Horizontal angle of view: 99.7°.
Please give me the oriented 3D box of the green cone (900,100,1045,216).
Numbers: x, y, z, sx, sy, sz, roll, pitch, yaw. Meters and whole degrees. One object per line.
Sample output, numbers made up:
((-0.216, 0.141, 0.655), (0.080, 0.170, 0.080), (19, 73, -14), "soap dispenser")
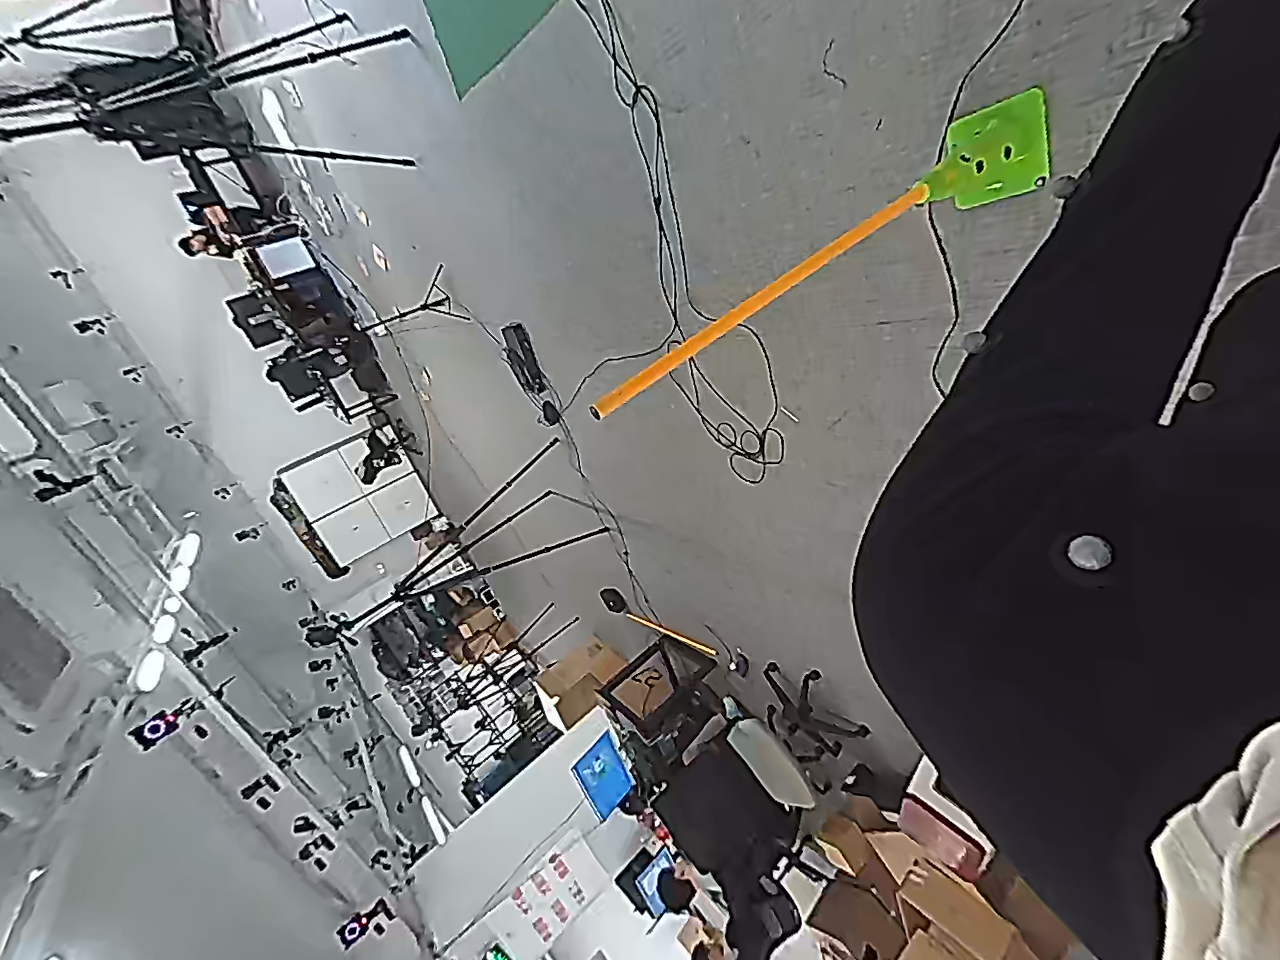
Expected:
((0.695, -0.663, 1.190), (0.202, 0.368, 0.200), (11, 128, 56), "green cone")
